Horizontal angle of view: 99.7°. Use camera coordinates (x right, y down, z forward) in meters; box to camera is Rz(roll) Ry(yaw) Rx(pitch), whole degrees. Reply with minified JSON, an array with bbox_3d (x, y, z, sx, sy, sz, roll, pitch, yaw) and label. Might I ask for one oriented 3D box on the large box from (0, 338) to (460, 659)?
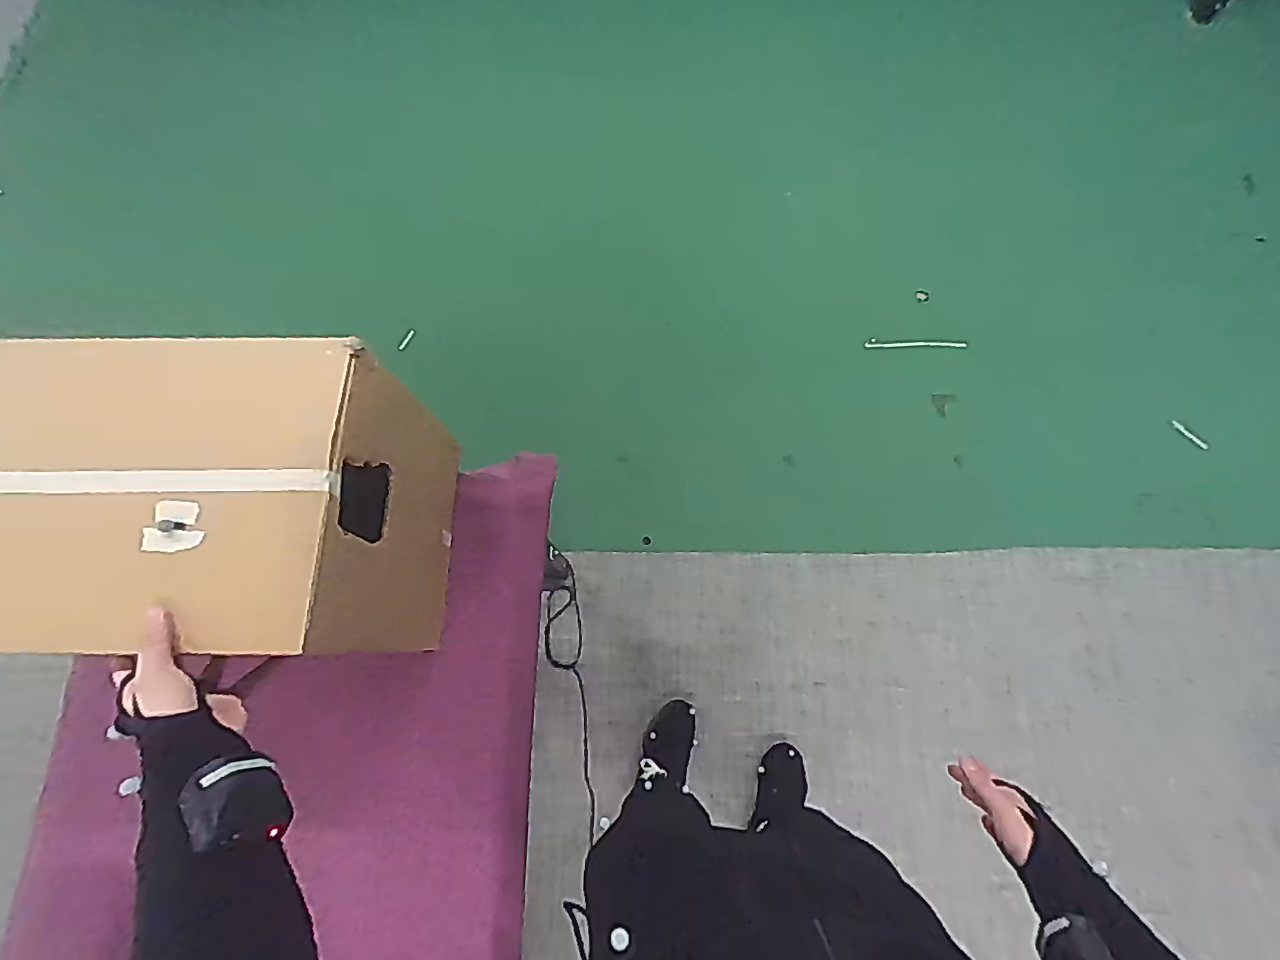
[{"bbox_3d":[-0.476,0.046,0.654,0.408,0.320,0.320,0,74,0],"label":"large box"}]
